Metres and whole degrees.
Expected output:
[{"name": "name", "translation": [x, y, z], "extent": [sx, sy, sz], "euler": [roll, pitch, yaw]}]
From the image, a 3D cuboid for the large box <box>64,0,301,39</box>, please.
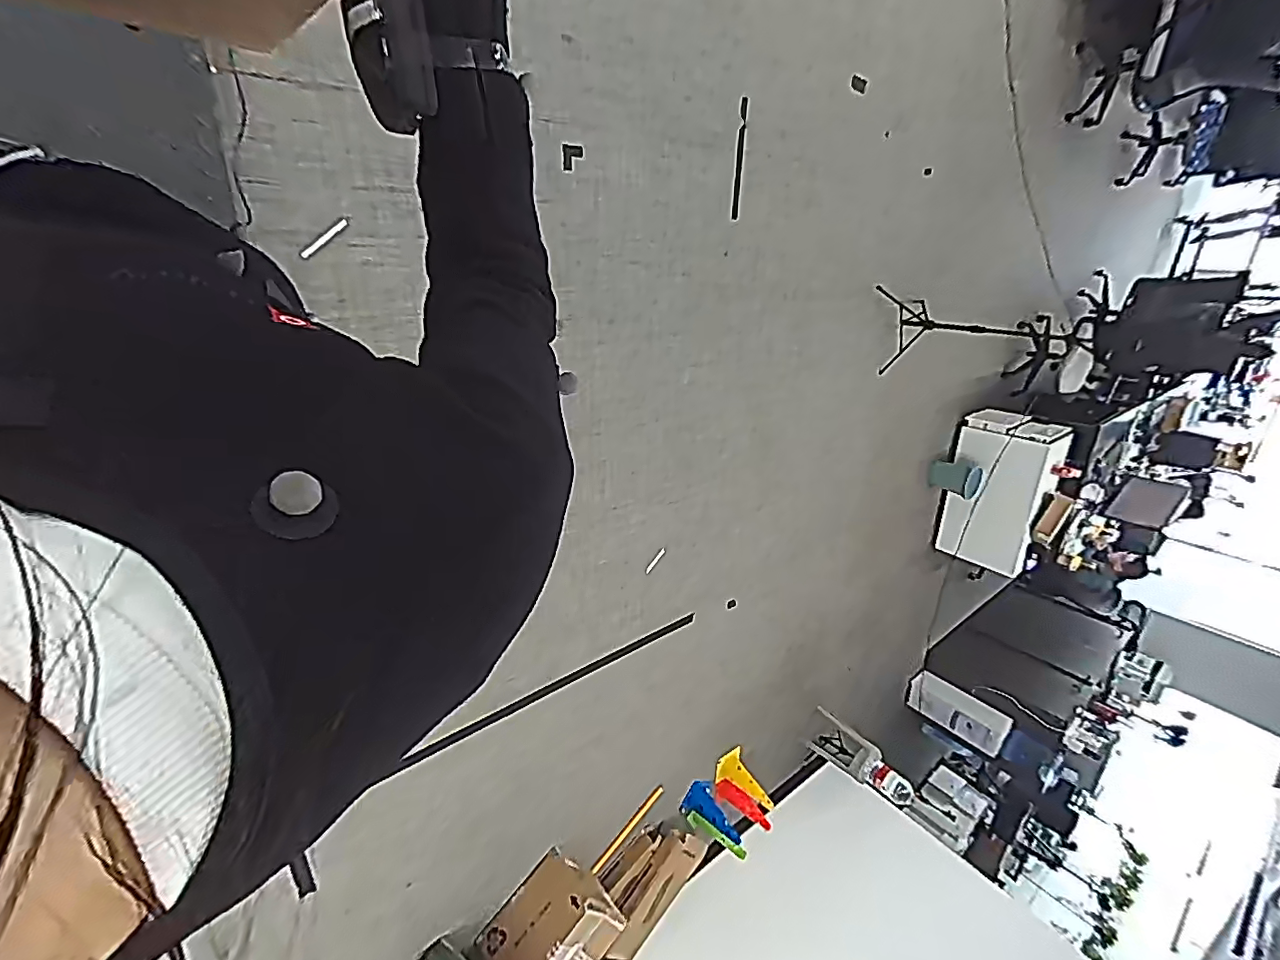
[{"name": "large box", "translation": [-0.386, -0.425, 0.205], "extent": [0.408, 0.320, 0.320], "euler": [-17, 125, -37]}]
